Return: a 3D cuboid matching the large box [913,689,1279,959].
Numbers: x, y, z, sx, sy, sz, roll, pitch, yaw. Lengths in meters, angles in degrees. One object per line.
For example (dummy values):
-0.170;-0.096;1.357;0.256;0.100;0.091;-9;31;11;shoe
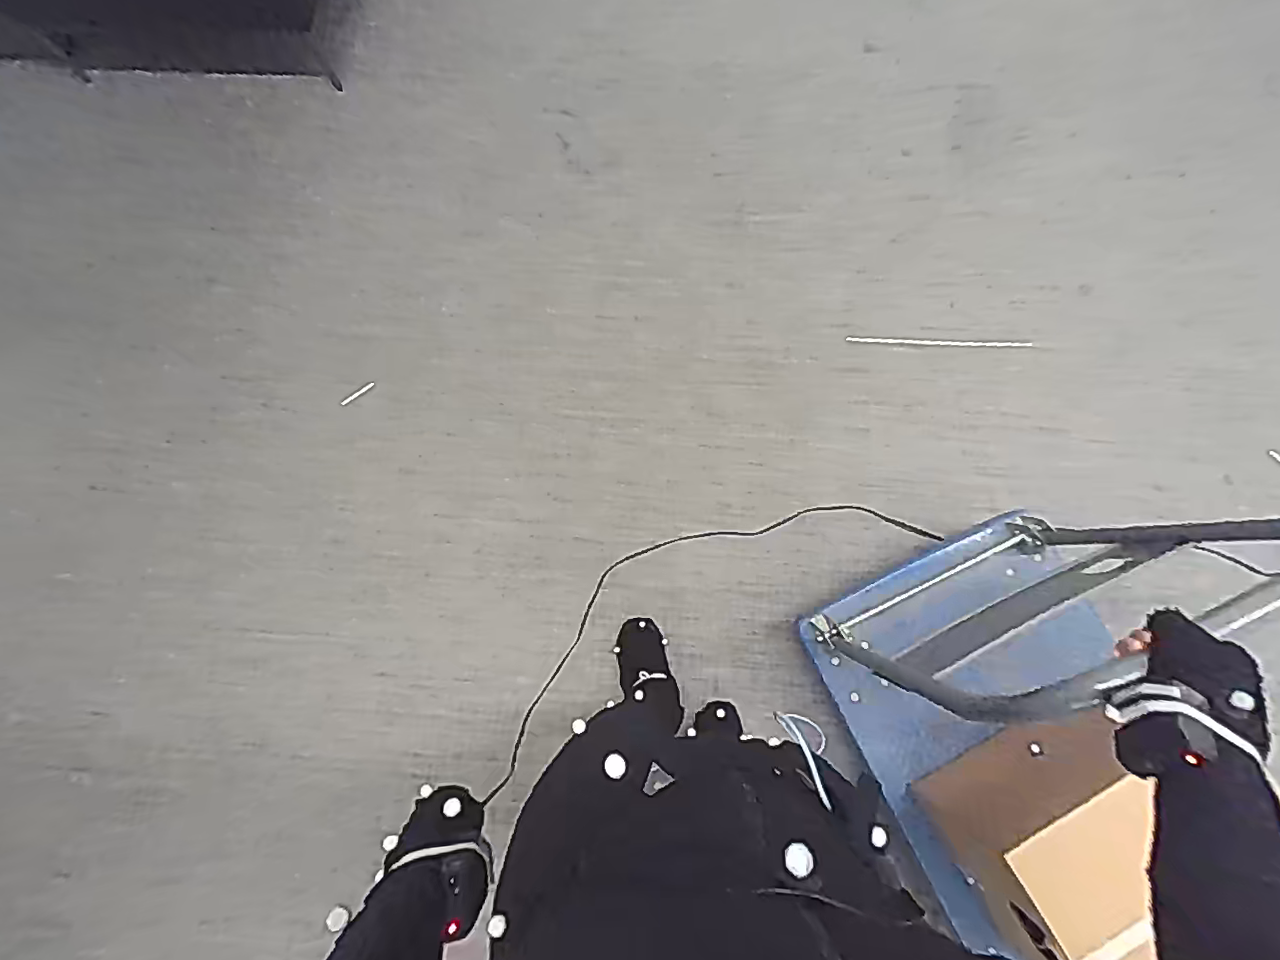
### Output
0.770;0.609;0.907;0.408;0.320;0.320;-29;78;-5;large box
